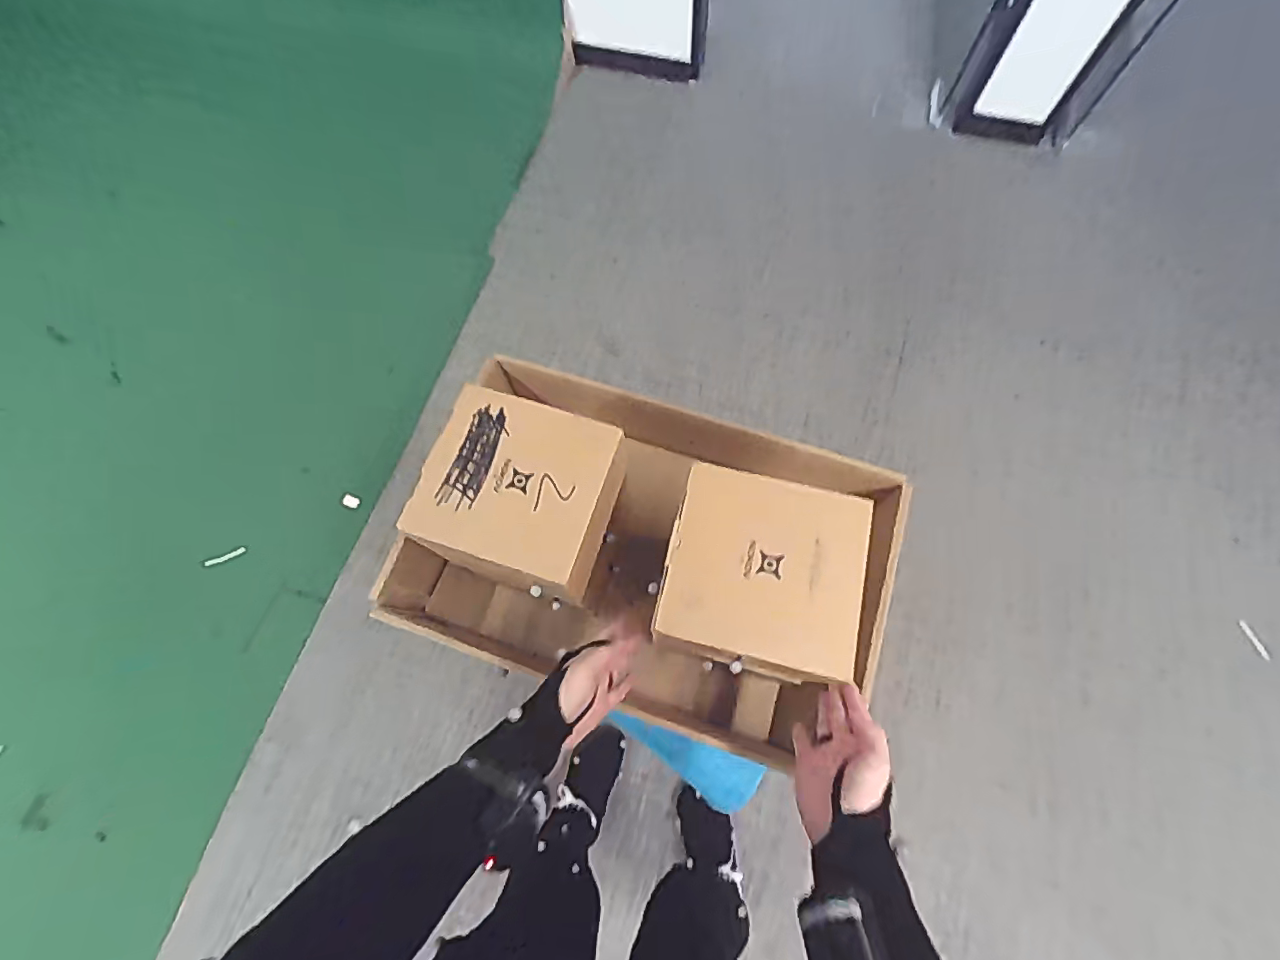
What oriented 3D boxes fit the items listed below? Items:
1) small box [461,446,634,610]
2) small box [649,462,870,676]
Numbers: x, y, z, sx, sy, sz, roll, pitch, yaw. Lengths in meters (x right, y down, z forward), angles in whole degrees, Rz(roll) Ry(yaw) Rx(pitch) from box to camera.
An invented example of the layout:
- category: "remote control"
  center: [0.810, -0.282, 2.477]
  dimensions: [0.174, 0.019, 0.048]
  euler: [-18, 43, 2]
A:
- category: "small box"
  center: [-0.116, 0.076, 0.763]
  dimensions: [0.179, 0.176, 0.168]
  euler: [17, 72, 7]
- category: "small box"
  center: [0.115, 0.101, 0.566]
  dimensions: [0.179, 0.176, 0.168]
  euler: [13, 72, 7]
